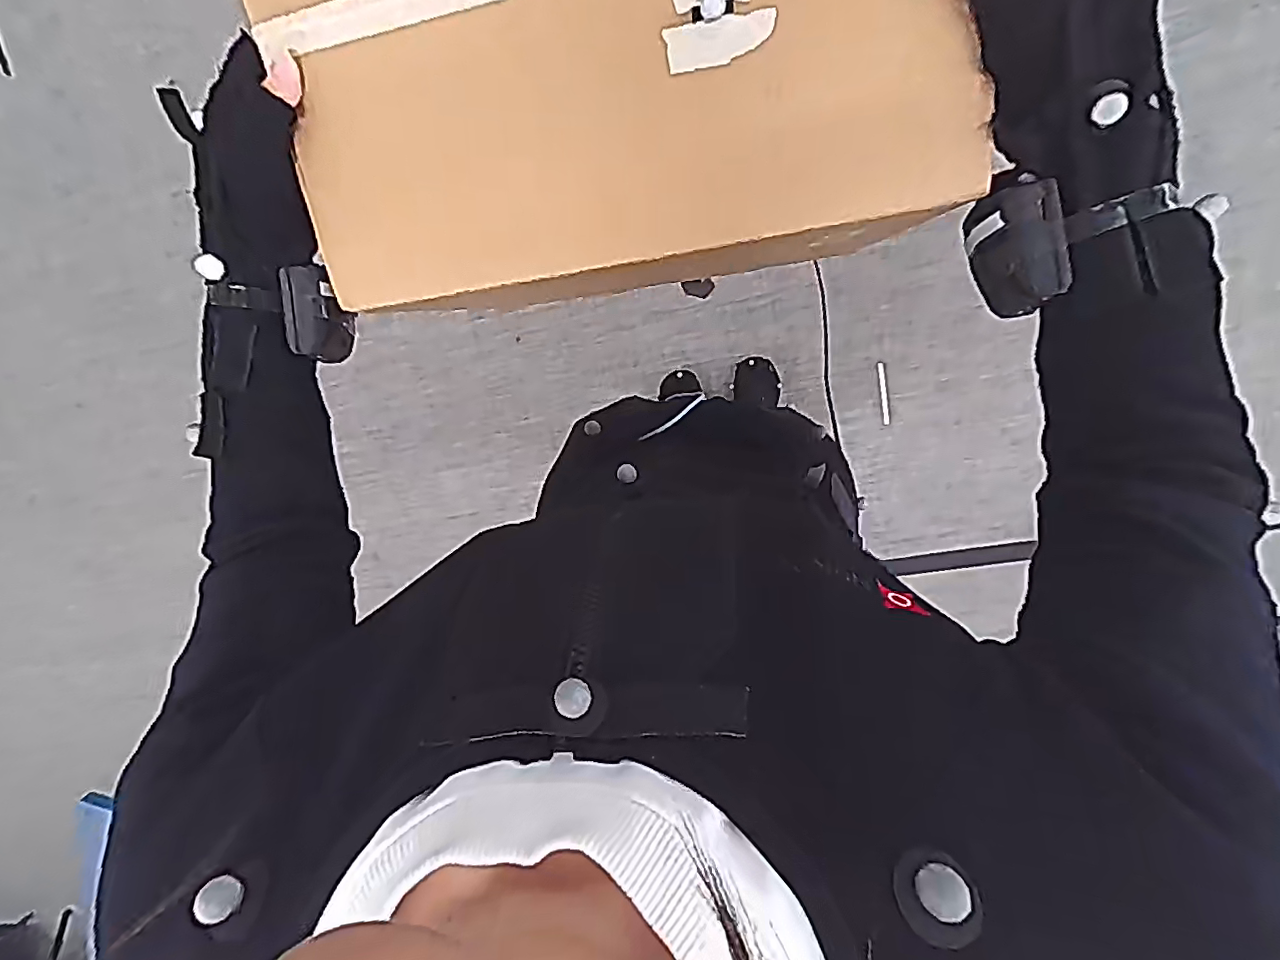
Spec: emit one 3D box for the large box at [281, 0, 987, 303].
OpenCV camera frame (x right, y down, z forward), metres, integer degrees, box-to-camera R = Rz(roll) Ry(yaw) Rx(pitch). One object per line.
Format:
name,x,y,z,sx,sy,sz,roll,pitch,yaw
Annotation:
large box,-0.003,-0.338,0.440,0.408,0.320,0.320,-6,108,10
